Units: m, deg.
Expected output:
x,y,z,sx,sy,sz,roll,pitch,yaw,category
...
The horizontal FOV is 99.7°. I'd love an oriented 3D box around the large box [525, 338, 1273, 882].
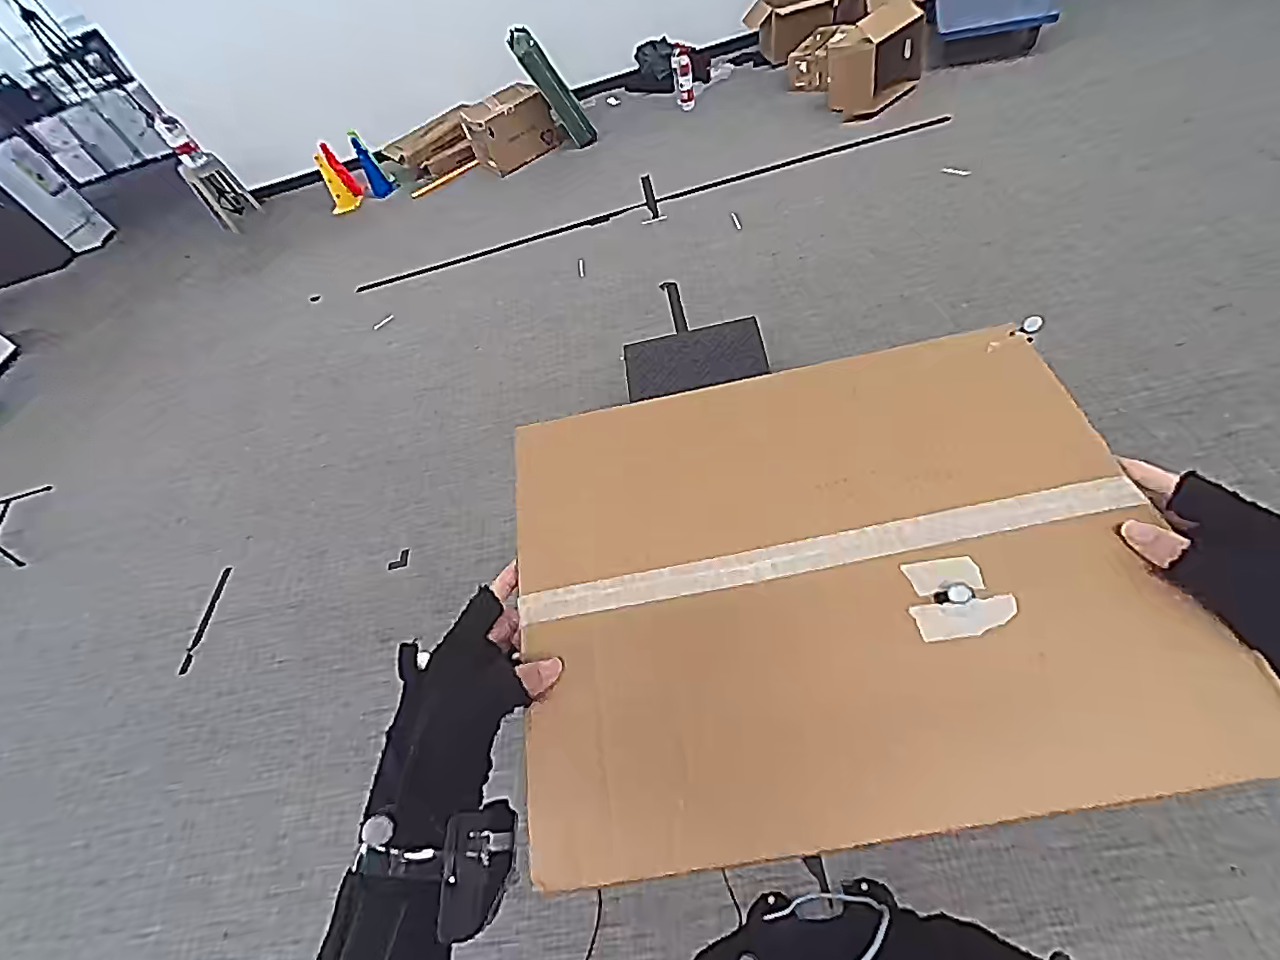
x,y,z,sx,sy,sz,roll,pitch,yaw,category
0.140,0.128,0.496,0.408,0.320,0.320,-12,59,3,large box
